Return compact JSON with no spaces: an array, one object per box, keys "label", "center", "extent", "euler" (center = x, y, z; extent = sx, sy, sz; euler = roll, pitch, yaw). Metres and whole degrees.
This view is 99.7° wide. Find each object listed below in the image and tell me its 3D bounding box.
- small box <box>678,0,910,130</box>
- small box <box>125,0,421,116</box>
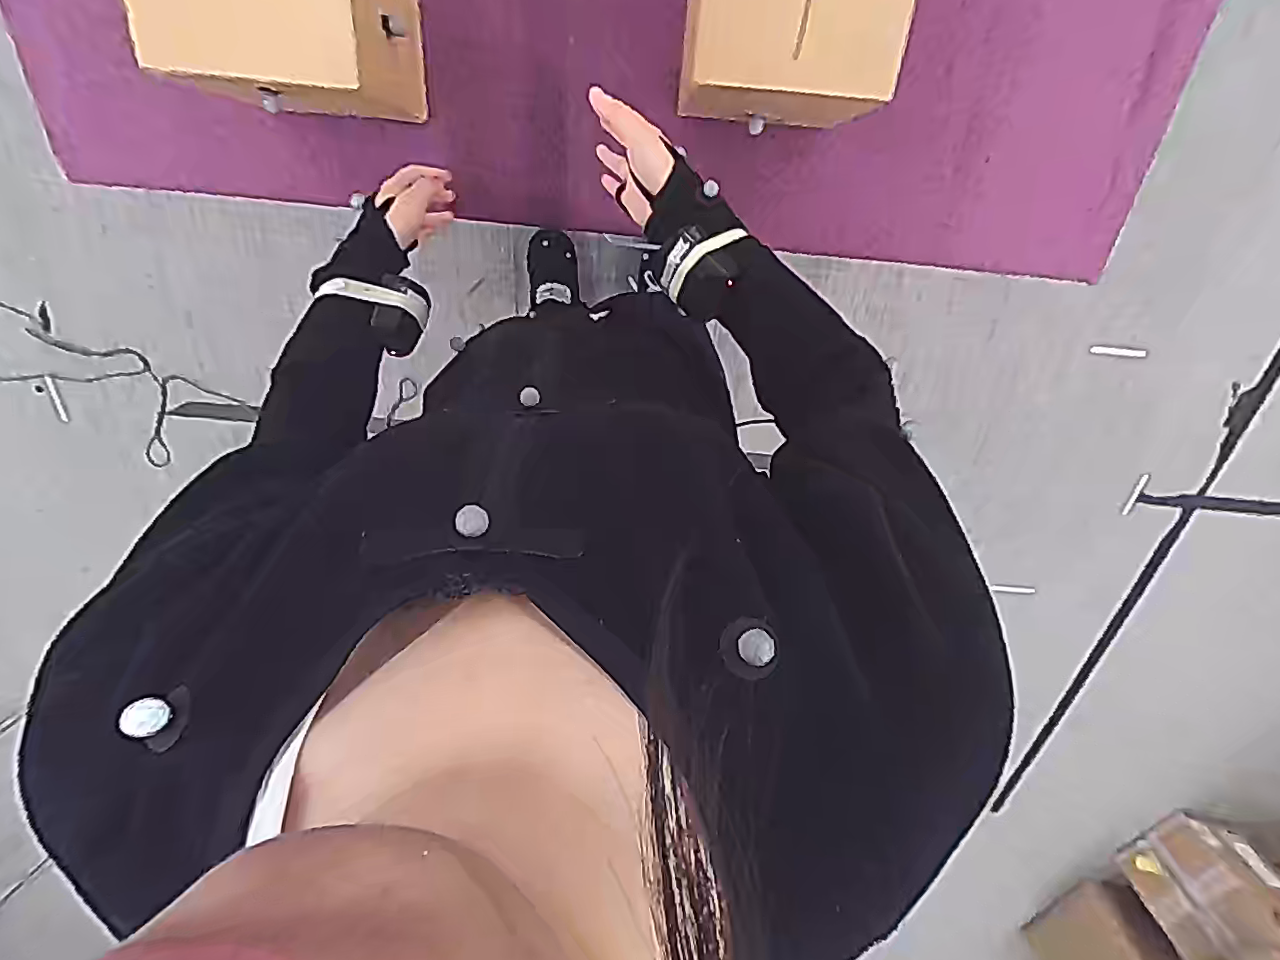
[{"label":"small box","center":[0.127,-0.428,0.475],"extent":[0.168,0.176,0.179],"euler":[4,117,-2]},{"label":"small box","center":[-0.304,-0.431,0.470],"extent":[0.179,0.176,0.168],"euler":[4,116,-2]}]
